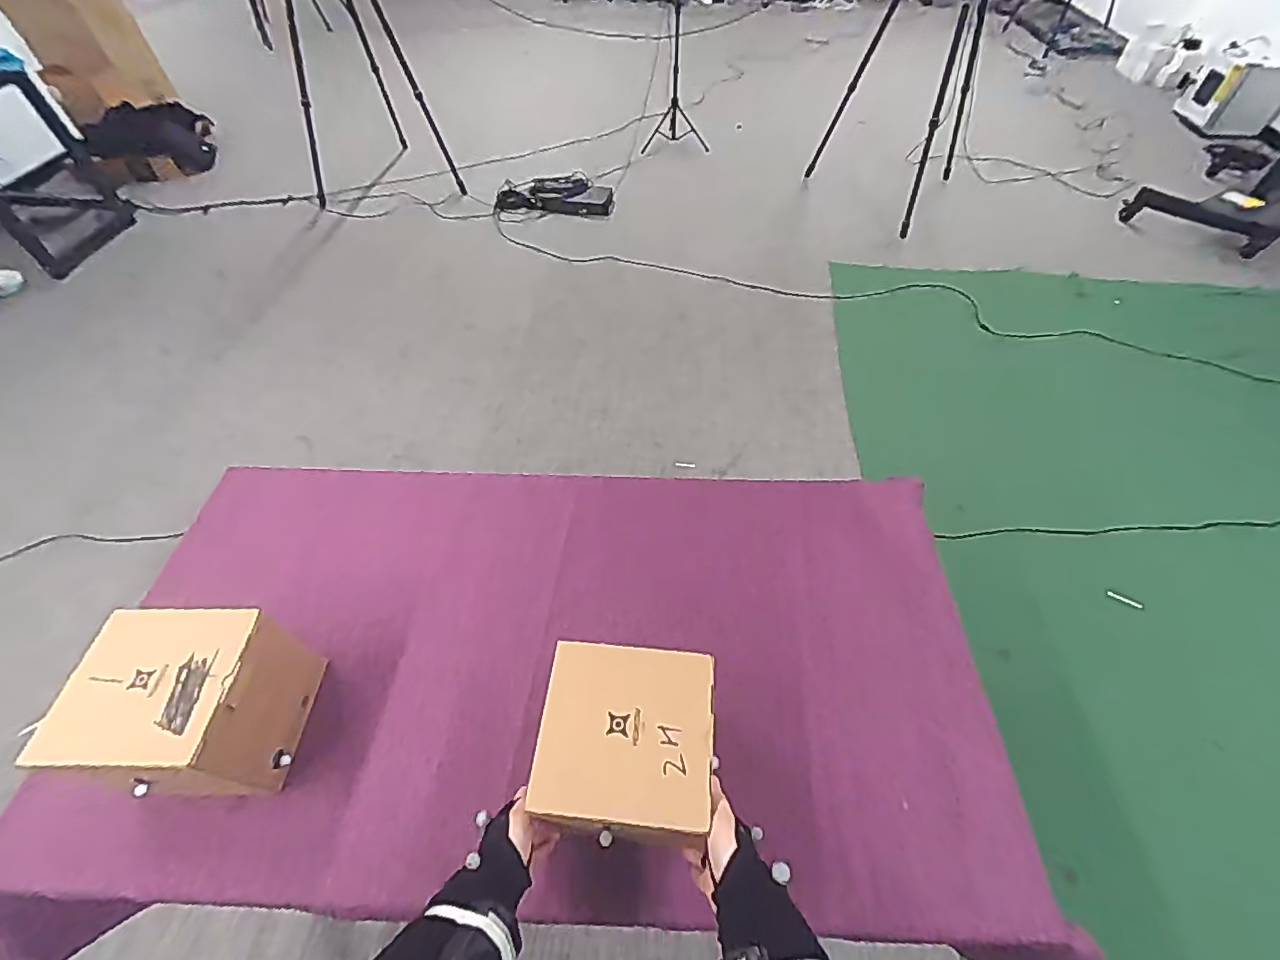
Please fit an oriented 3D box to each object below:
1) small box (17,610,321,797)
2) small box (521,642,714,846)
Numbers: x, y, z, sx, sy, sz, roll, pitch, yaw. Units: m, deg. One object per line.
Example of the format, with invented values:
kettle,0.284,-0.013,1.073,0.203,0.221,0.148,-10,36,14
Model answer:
small box,-0.518,0.265,0.635,0.179,0.176,0.168,-1,51,1
small box,-0.014,0.298,0.603,0.179,0.176,0.168,5,53,5
